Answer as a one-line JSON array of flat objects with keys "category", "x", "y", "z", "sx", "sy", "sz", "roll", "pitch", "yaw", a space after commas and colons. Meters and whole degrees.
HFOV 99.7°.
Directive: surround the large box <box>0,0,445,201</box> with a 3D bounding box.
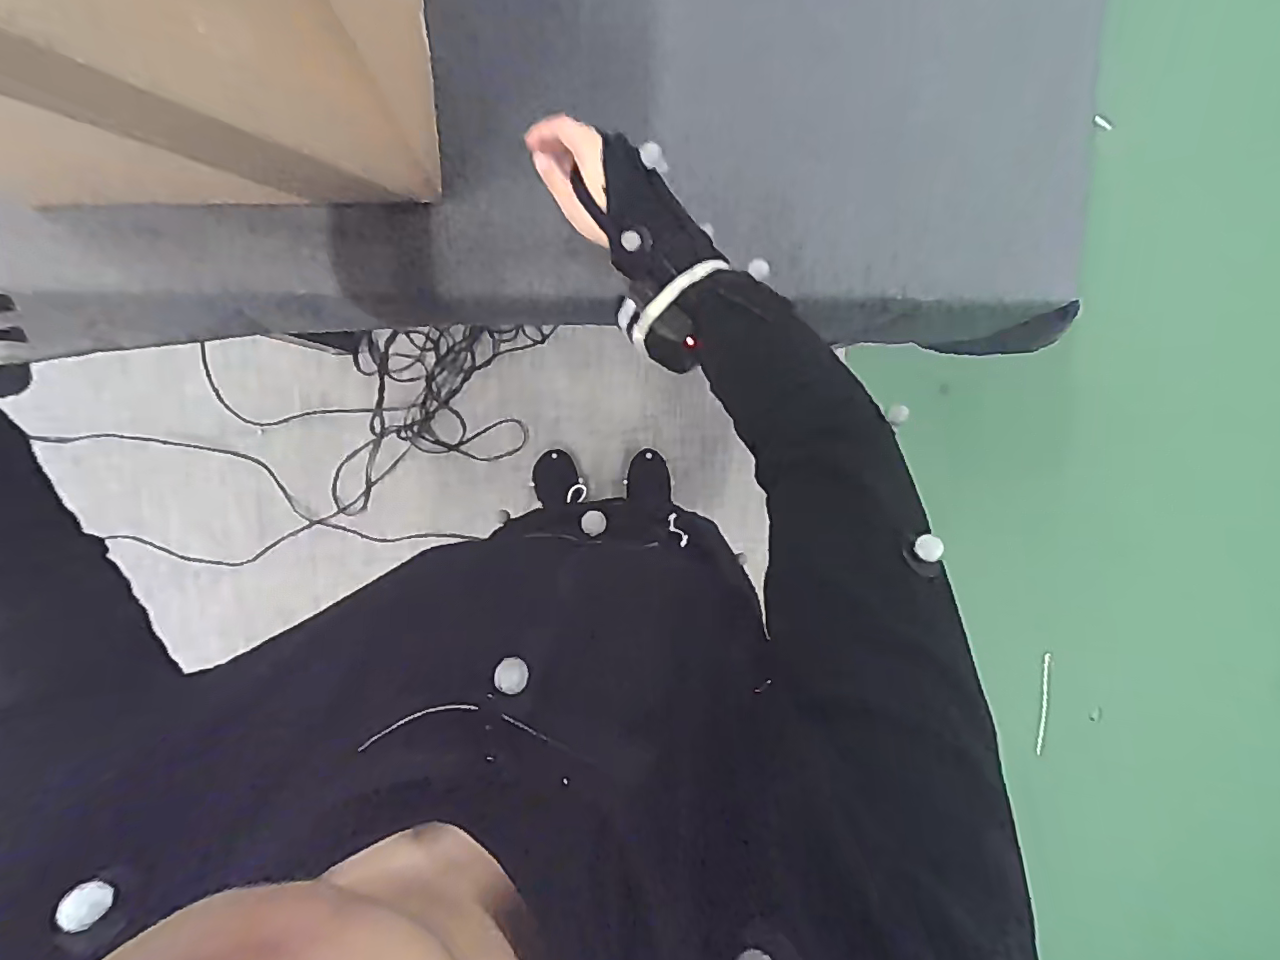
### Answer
[{"category": "large box", "x": -0.391, "y": -0.424, "z": 0.386, "sx": 0.408, "sy": 0.320, "sz": 0.320, "roll": -5, "pitch": 97, "yaw": -8}]
